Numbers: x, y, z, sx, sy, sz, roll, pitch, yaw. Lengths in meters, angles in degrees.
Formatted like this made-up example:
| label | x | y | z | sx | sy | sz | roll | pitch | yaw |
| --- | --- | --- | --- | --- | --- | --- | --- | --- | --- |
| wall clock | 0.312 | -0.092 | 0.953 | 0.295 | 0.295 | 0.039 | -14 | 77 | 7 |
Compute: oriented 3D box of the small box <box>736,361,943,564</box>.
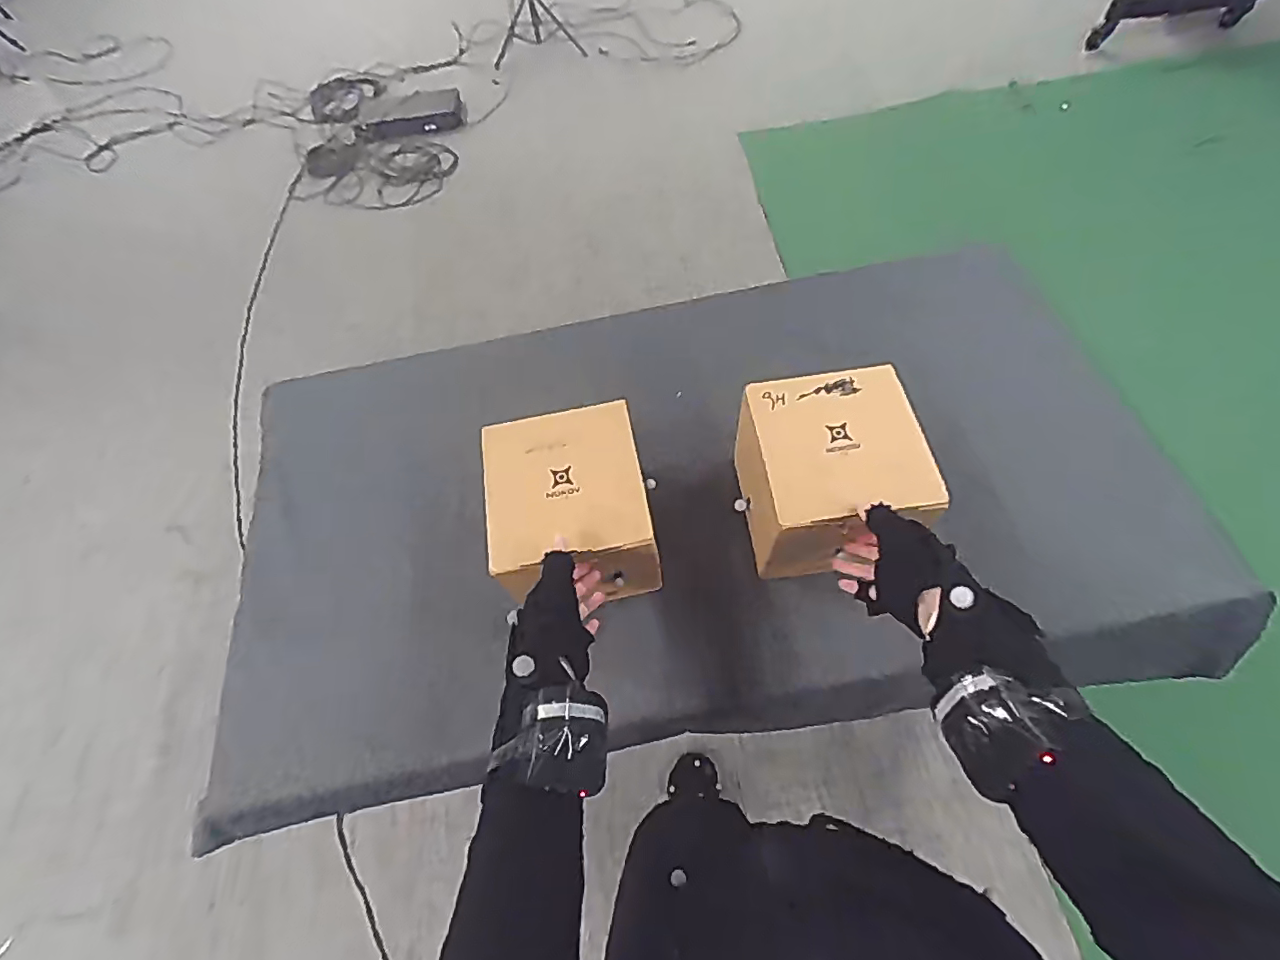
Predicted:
| label | x | y | z | sx | sy | sz | roll | pitch | yaw |
| --- | --- | --- | --- | --- | --- | --- | --- | --- | --- |
| small box | 0.214 | -0.009 | 0.635 | 0.168 | 0.176 | 0.179 | -8 | 63 | 1 |

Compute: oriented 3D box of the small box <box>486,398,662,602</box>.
| label | x | y | z | sx | sy | sz | roll | pitch | yaw |
| --- | --- | --- | --- | --- | --- | --- | --- | --- | --- |
| small box | -0.072 | 0.034 | 0.641 | 0.168 | 0.176 | 0.179 | -12 | 61 | -2 |
